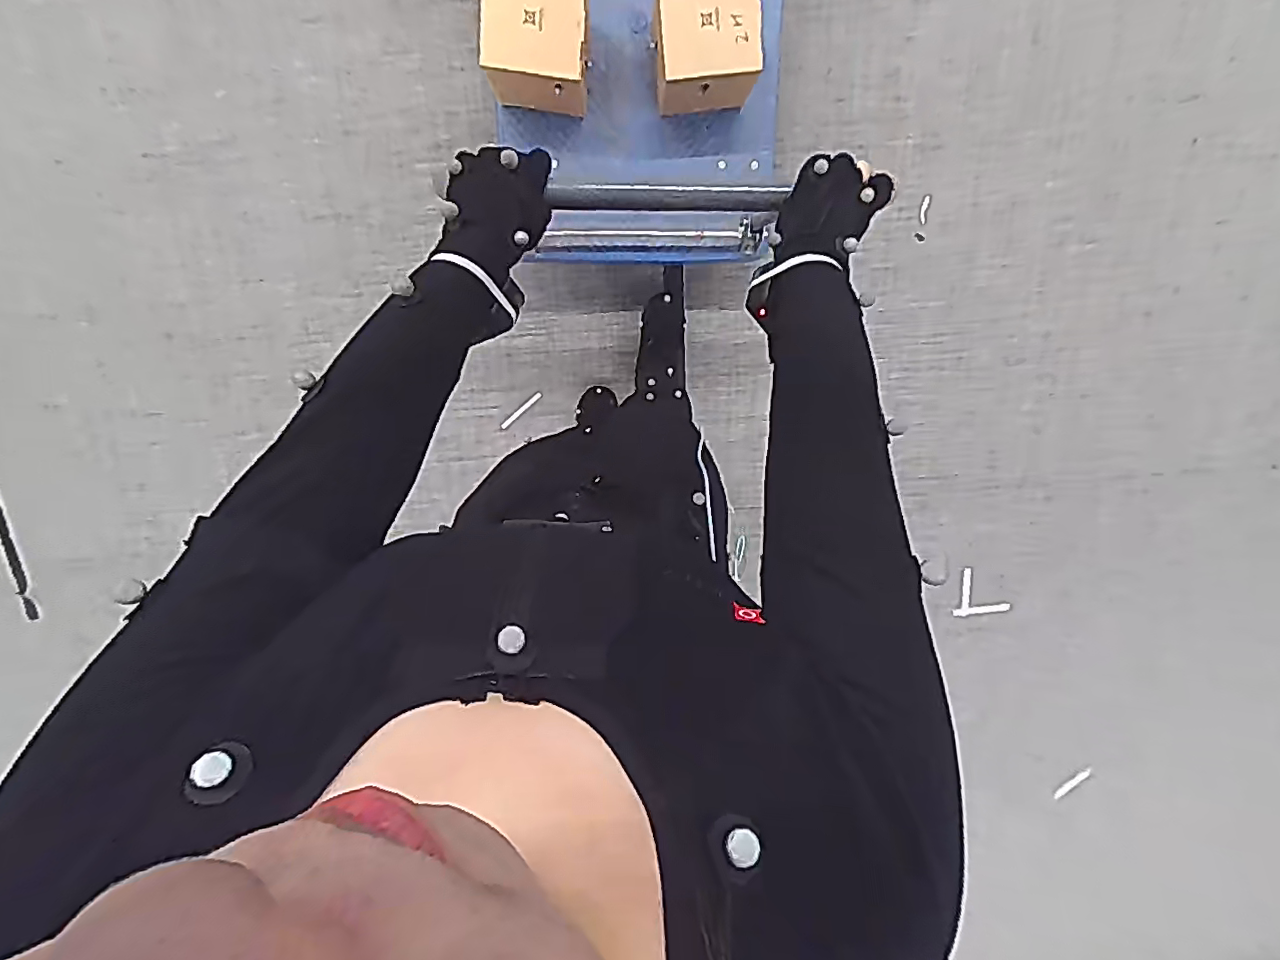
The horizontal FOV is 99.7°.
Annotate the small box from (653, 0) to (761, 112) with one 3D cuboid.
[{"bbox_3d":[0.116,-0.804,0.996,0.179,0.176,0.168,-6,107,0],"label":"small box"}]

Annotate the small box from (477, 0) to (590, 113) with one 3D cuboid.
[{"bbox_3d":[-0.188,-0.799,0.986,0.179,0.176,0.168,5,106,-5],"label":"small box"}]
